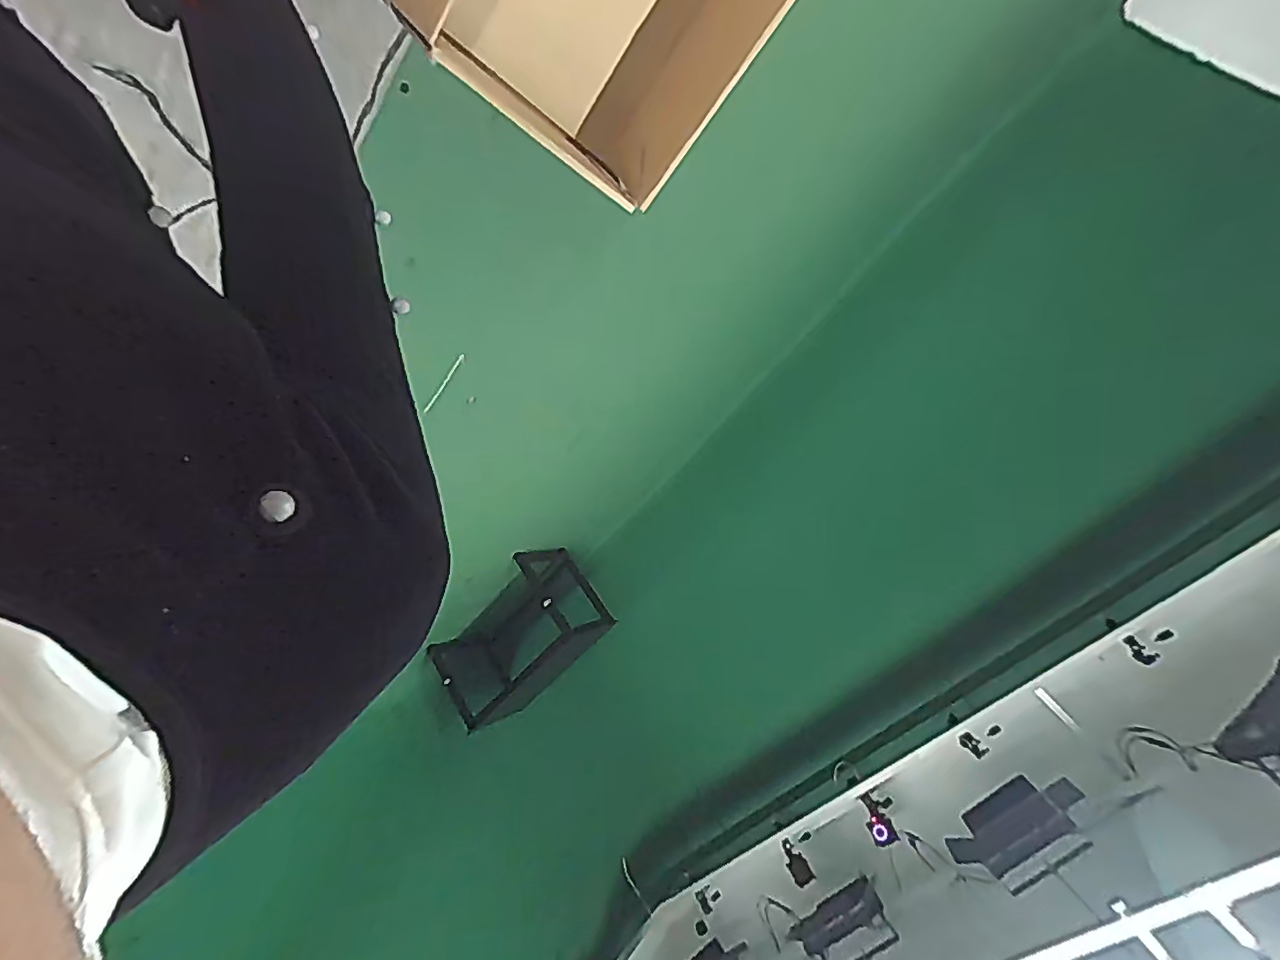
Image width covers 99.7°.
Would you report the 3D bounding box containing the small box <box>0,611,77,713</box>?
[{"bbox_3d":[-1.664,0.483,1.433,0.179,0.176,0.168,-26,154,-31],"label":"small box"}]
